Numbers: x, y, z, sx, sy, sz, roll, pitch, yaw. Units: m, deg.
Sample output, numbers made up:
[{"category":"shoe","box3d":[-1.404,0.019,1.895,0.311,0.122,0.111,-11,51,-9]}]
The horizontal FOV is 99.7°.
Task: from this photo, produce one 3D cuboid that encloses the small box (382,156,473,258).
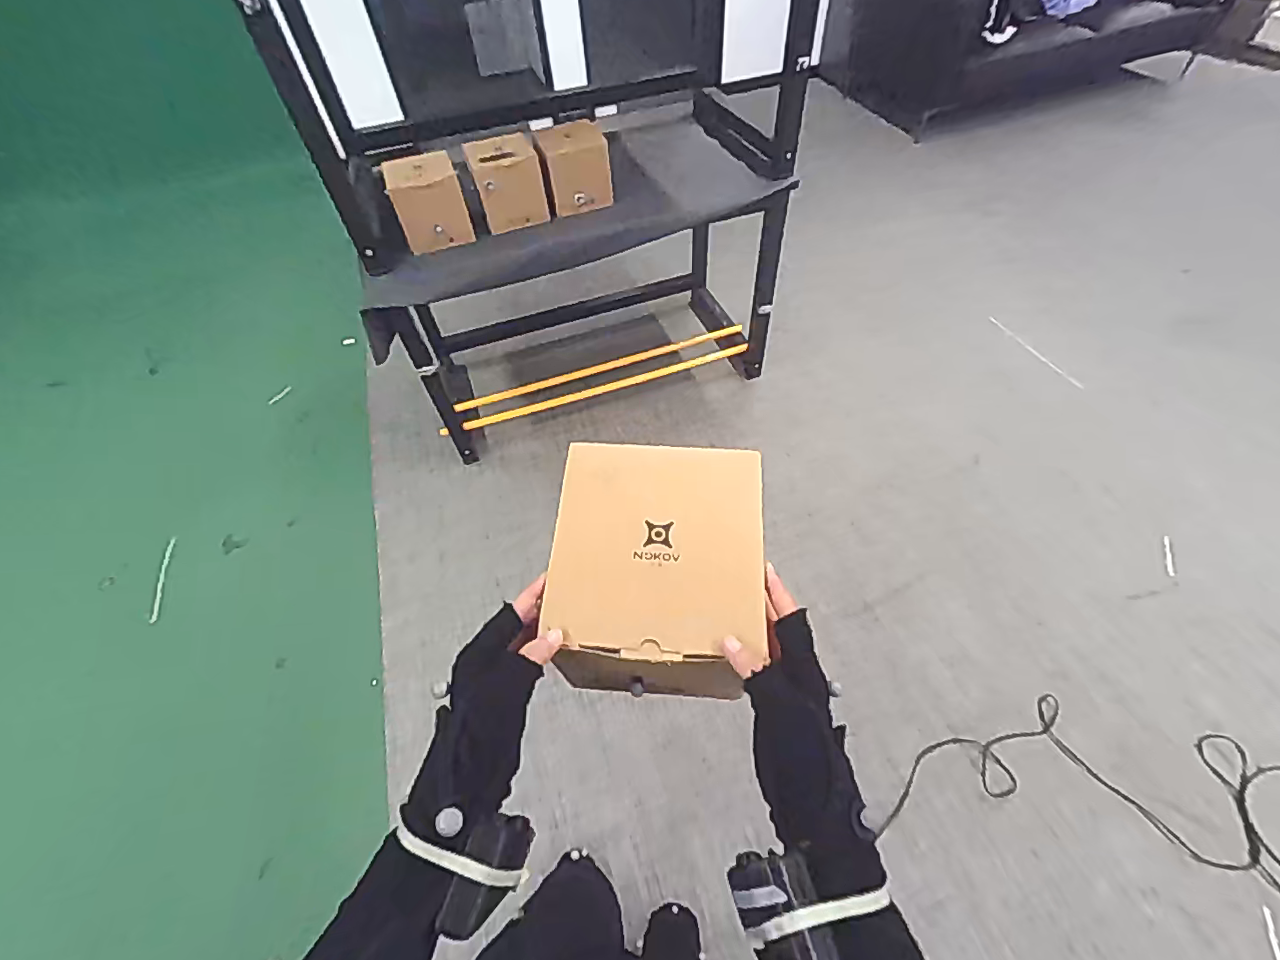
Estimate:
[{"category":"small box","box3d":[-0.548,-0.707,1.403,0.168,0.176,0.179,-19,53,-11]}]
